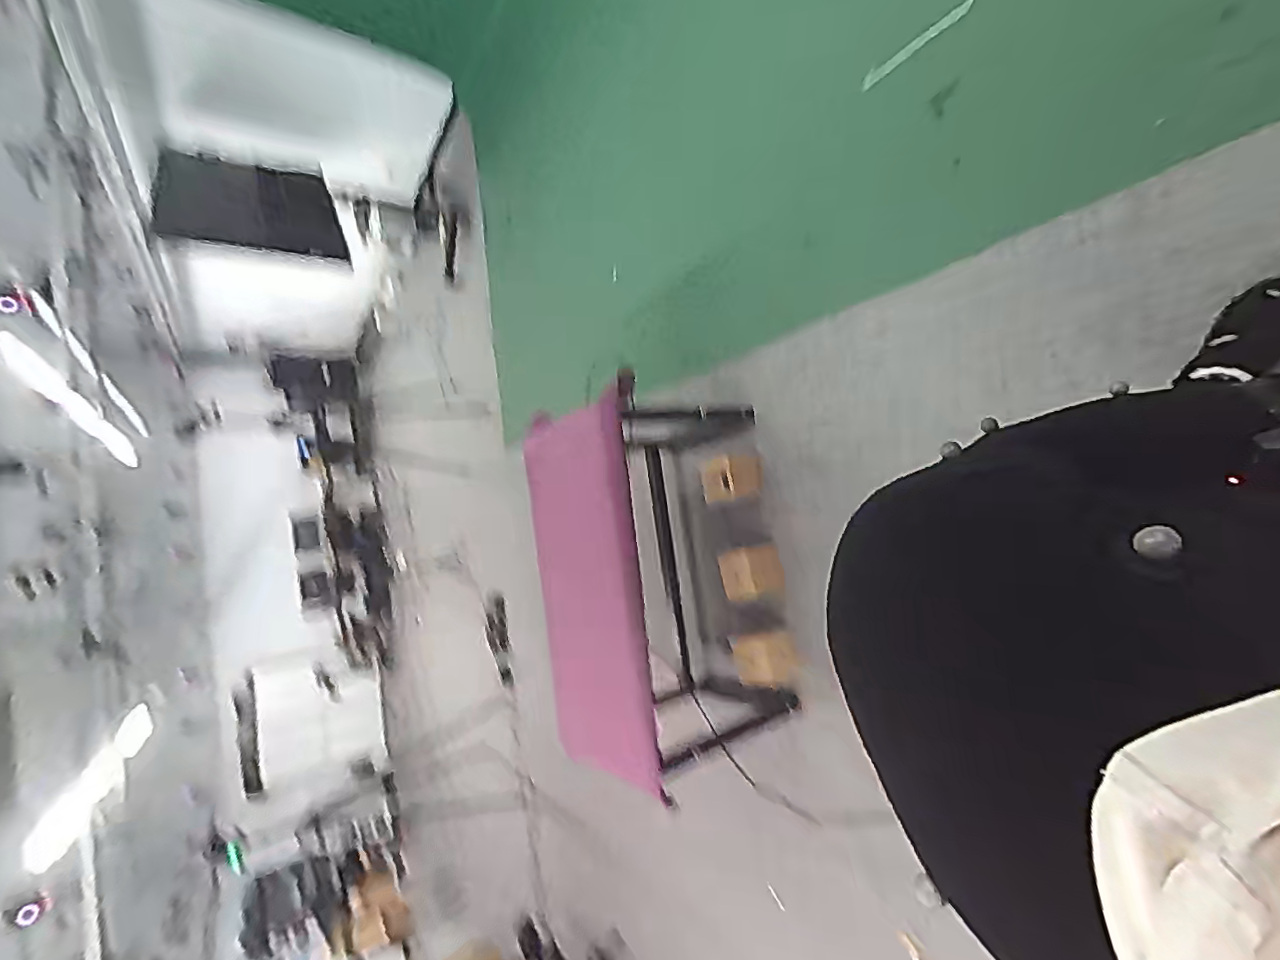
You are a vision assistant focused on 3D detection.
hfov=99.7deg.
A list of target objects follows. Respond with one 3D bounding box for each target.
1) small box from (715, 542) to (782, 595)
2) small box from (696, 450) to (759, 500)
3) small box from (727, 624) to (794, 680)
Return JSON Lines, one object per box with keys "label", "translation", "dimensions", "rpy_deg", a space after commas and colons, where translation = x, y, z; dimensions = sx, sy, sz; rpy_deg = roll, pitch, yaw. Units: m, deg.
{"label": "small box", "translation": [0.418, 0.338, 2.082], "dimensions": [0.168, 0.176, 0.179], "rpy_deg": [-24, 75, 54]}
{"label": "small box", "translation": [0.351, -0.021, 2.130], "dimensions": [0.179, 0.176, 0.168], "rpy_deg": [-18, 79, 54]}
{"label": "small box", "translation": [0.463, 0.651, 2.053], "dimensions": [0.179, 0.176, 0.168], "rpy_deg": [-27, 72, 52]}
